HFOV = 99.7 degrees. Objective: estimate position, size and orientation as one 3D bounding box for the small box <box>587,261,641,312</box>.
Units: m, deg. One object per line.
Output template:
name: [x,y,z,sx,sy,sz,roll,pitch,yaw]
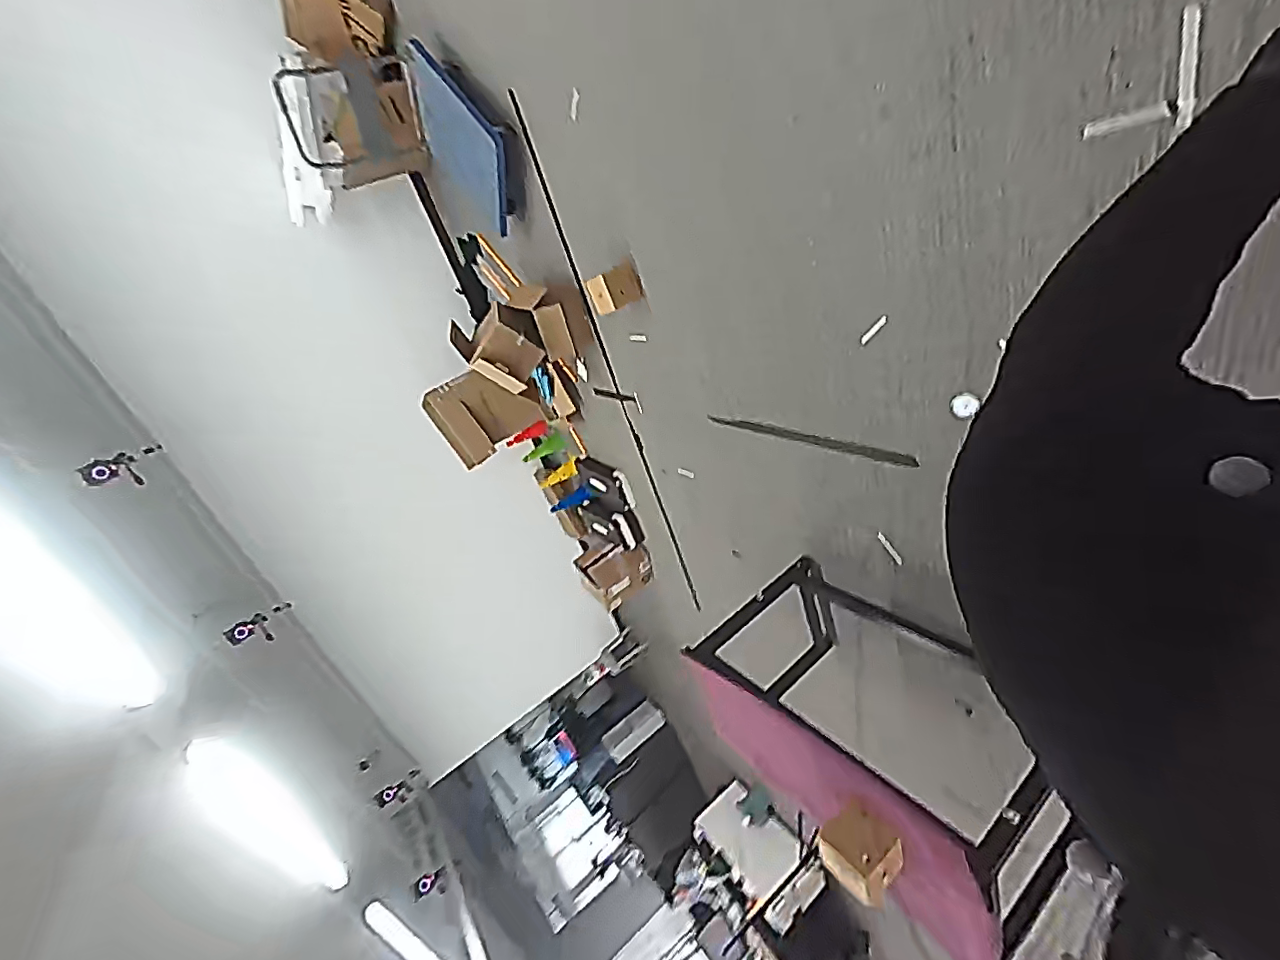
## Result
small box: [-0.116,-0.909,2.541,0.179,0.176,0.168,15,132,60]
